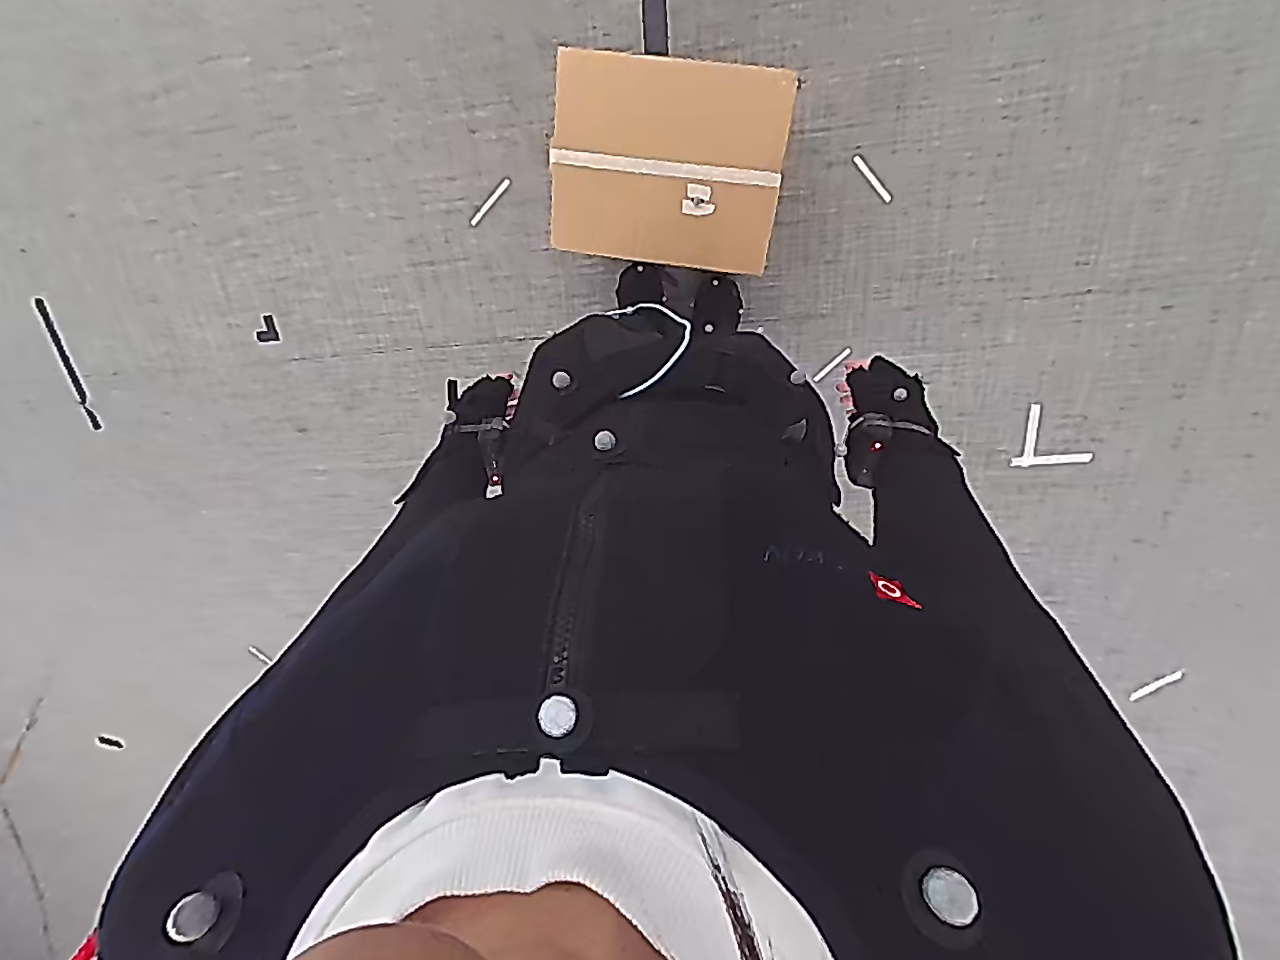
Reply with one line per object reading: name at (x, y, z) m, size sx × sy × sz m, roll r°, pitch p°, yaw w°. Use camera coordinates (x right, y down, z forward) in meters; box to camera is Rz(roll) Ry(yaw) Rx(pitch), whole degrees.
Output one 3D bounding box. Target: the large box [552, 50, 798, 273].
large box at (0.060, -0.605, 1.076) m, size 0.408 × 0.320 × 0.320 m, roll 9°, pitch 116°, yaw 4°
